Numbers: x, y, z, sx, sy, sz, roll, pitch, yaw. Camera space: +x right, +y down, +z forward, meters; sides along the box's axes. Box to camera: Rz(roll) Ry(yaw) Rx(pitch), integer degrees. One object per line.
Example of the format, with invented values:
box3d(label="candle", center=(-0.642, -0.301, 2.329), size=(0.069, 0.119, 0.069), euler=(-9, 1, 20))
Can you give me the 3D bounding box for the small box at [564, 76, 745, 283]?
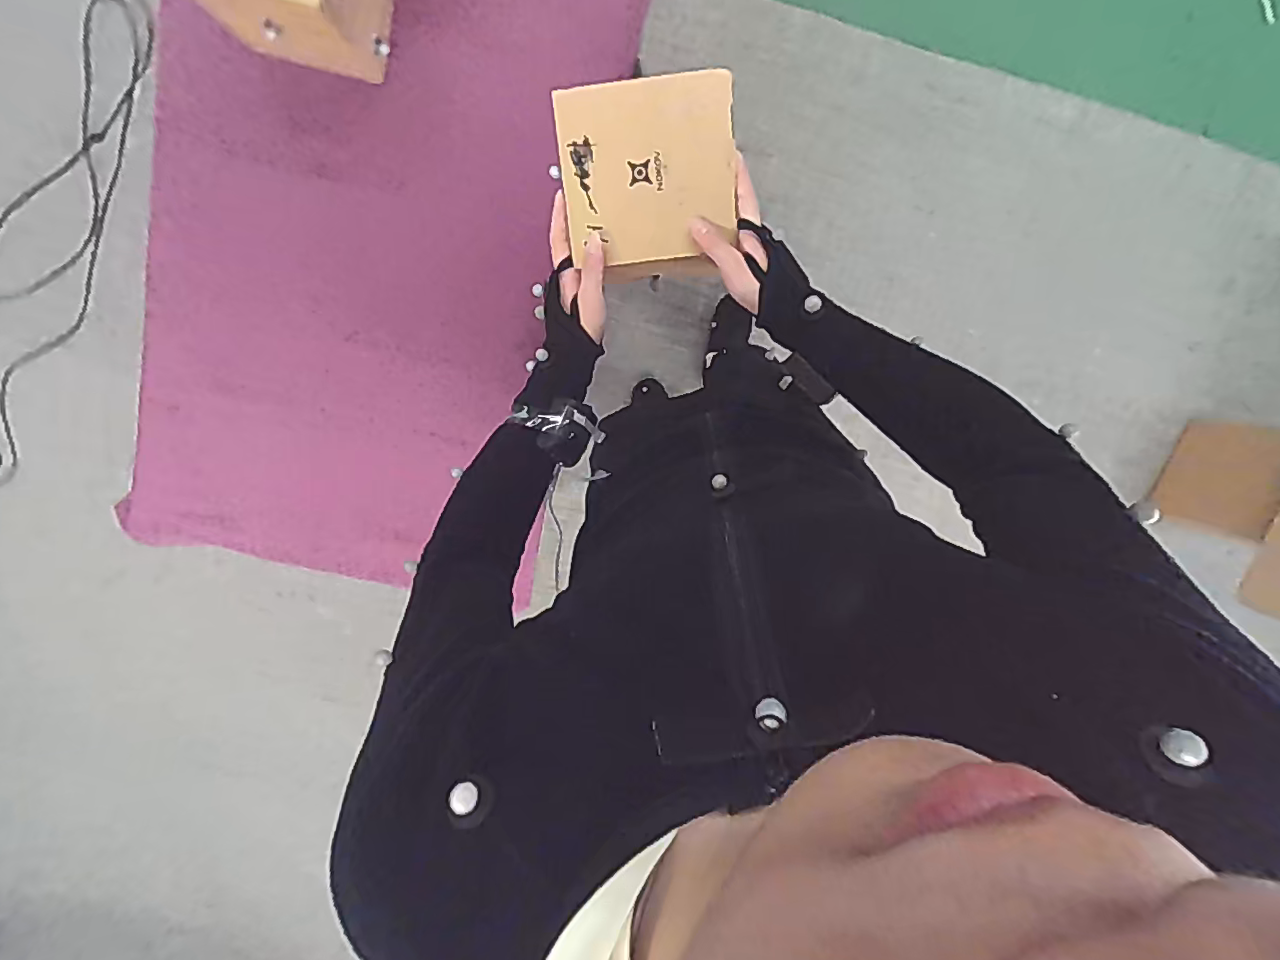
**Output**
box3d(label="small box", center=(0.016, -0.322, 0.613), size=(0.179, 0.176, 0.168), euler=(-3, 103, 1))
